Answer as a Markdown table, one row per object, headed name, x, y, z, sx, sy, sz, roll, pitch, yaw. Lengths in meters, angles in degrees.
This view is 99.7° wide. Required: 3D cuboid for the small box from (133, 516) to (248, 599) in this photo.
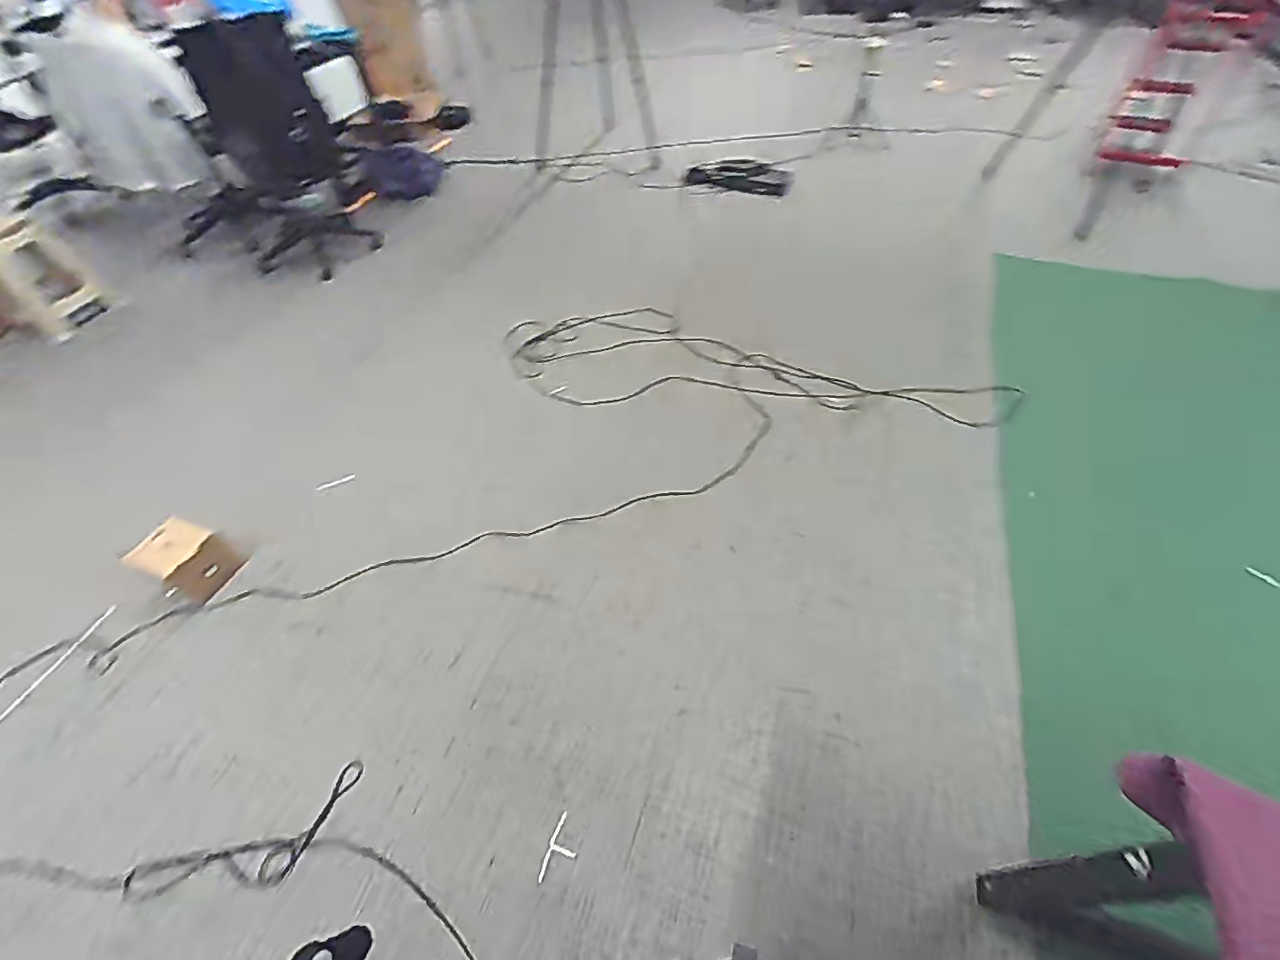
| name | x | y | z | sx | sy | sz | roll | pitch | yaw |
| --- | --- | --- | --- | --- | --- | --- | --- | --- | --- |
| small box | -1.360 | 0.242 | 1.652 | 0.179 | 0.176 | 0.168 | 18 | 54 | 15 |
